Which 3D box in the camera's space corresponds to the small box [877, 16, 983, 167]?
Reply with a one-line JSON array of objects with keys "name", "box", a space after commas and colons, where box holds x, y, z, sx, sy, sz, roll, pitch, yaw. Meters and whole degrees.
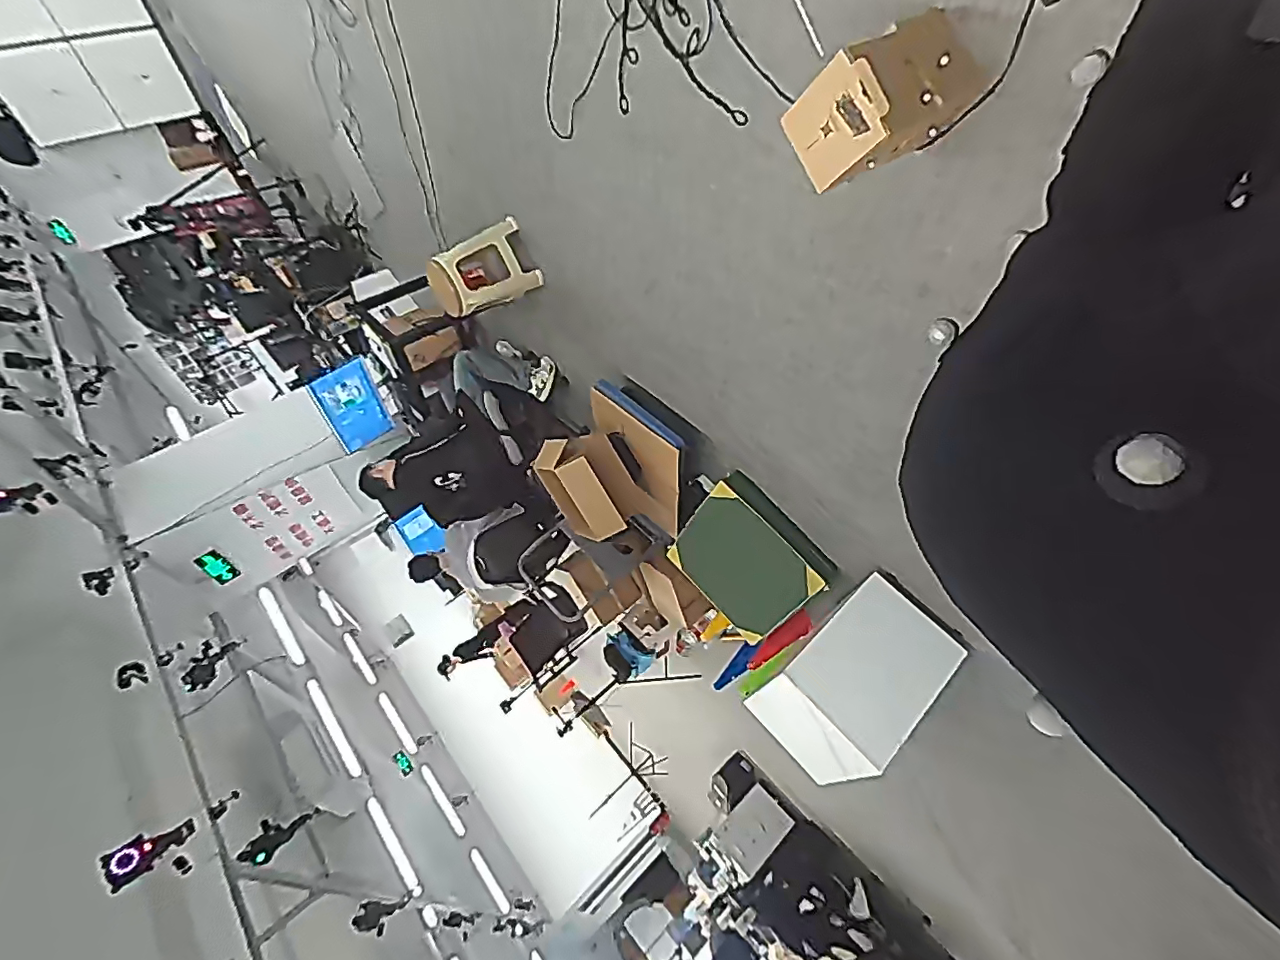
[{"name": "small box", "box": [0.545, -0.786, 1.093, 0.179, 0.176, 0.168, 56, 156, -2]}]

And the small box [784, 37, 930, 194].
[{"name": "small box", "box": [0.419, -0.695, 1.033, 0.168, 0.176, 0.179, 59, 156, -6]}]
